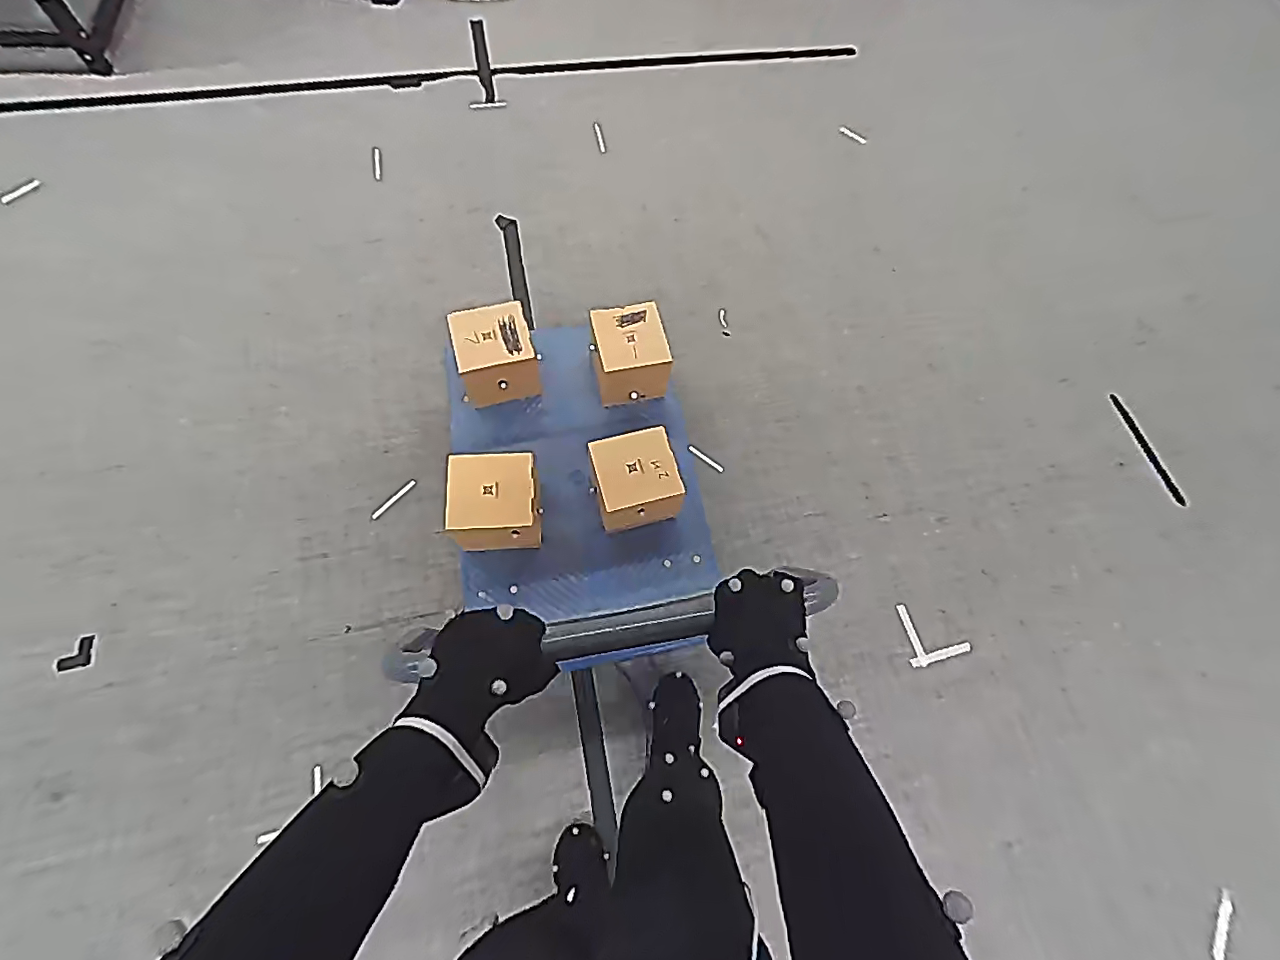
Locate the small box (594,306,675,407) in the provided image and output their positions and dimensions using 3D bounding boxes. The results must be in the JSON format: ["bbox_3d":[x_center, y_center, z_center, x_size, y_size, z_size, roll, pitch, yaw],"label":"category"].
[{"bbox_3d":[-0.022,-0.307,1.359,0.168,0.176,0.179,-11,71,-9],"label":"small box"}]

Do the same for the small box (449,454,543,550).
[{"bbox_3d":[-0.309,0.053,1.194,0.179,0.176,0.168,-2,68,-7],"label":"small box"}]

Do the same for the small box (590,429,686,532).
[{"bbox_3d":[-0.009,0.008,1.236,0.179,0.176,0.168,-13,70,-10],"label":"small box"}]
